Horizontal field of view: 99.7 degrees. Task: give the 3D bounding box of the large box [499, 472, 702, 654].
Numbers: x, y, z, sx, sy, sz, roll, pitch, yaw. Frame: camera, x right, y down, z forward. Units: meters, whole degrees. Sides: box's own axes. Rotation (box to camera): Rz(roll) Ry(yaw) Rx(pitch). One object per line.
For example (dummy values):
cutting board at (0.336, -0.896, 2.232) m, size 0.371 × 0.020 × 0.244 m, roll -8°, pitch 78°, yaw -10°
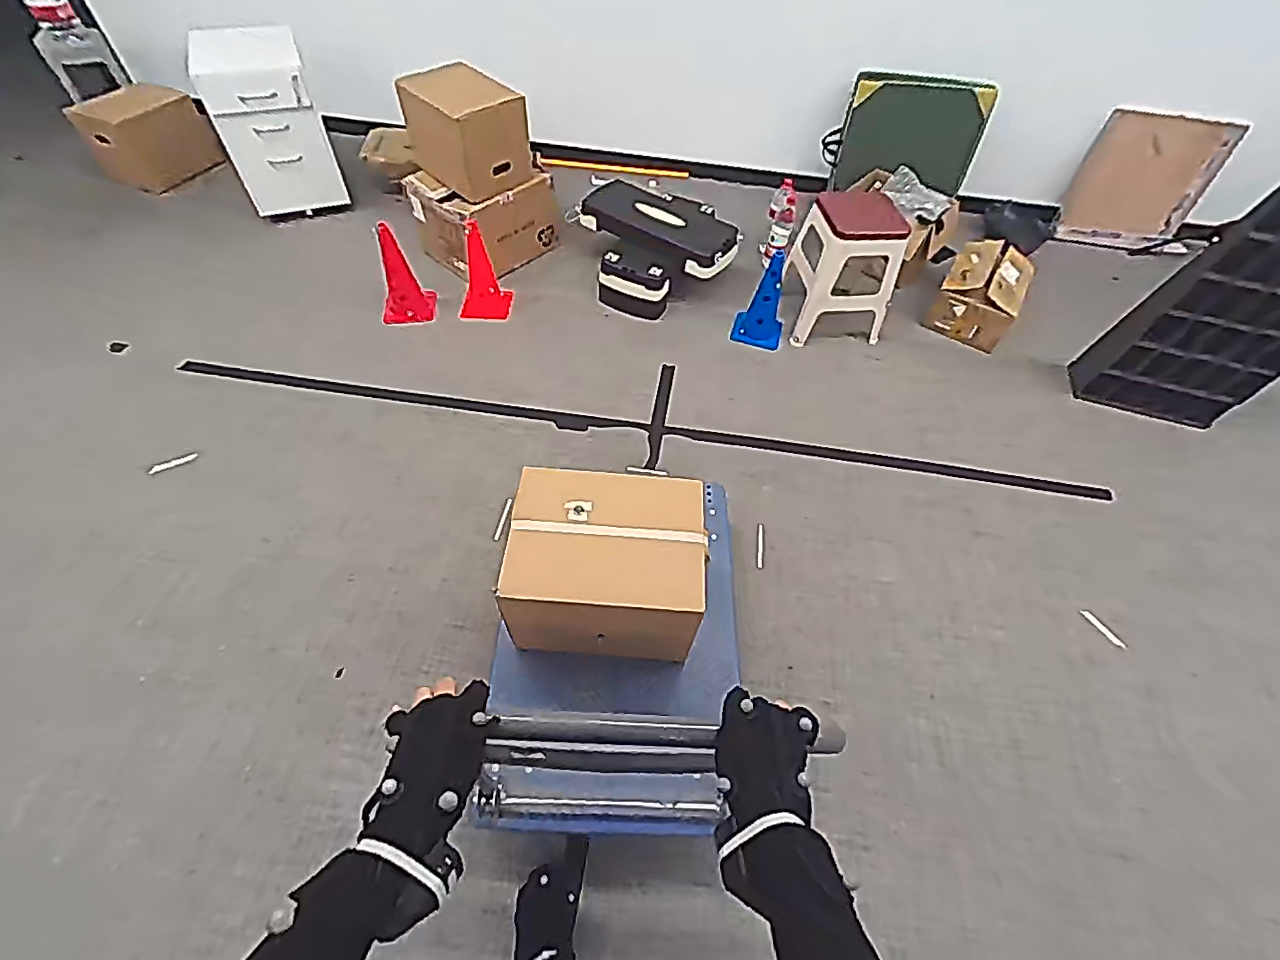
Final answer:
large box at (-0.075, 0.201, 1.256) m, size 0.408 × 0.320 × 0.320 m, roll 4°, pitch 55°, yaw 0°
